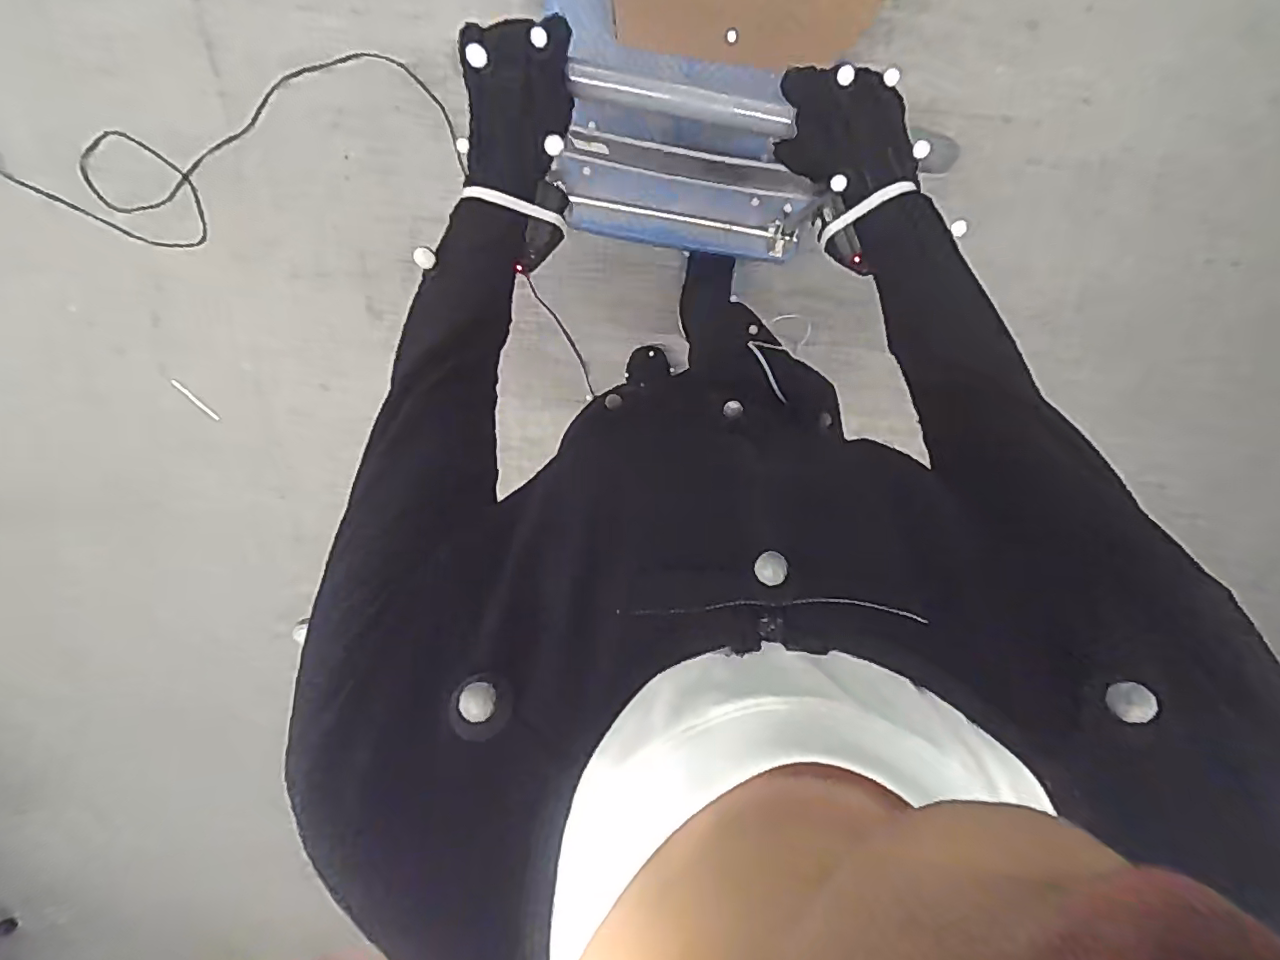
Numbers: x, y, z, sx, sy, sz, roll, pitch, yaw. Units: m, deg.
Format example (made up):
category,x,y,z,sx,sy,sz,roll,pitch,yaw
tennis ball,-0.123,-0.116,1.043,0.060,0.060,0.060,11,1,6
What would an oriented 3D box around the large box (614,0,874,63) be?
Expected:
category,x,y,z,sx,sy,sz,roll,pitch,yaw
large box,0.172,-0.913,0.855,0.408,0.320,0.320,6,109,-1
